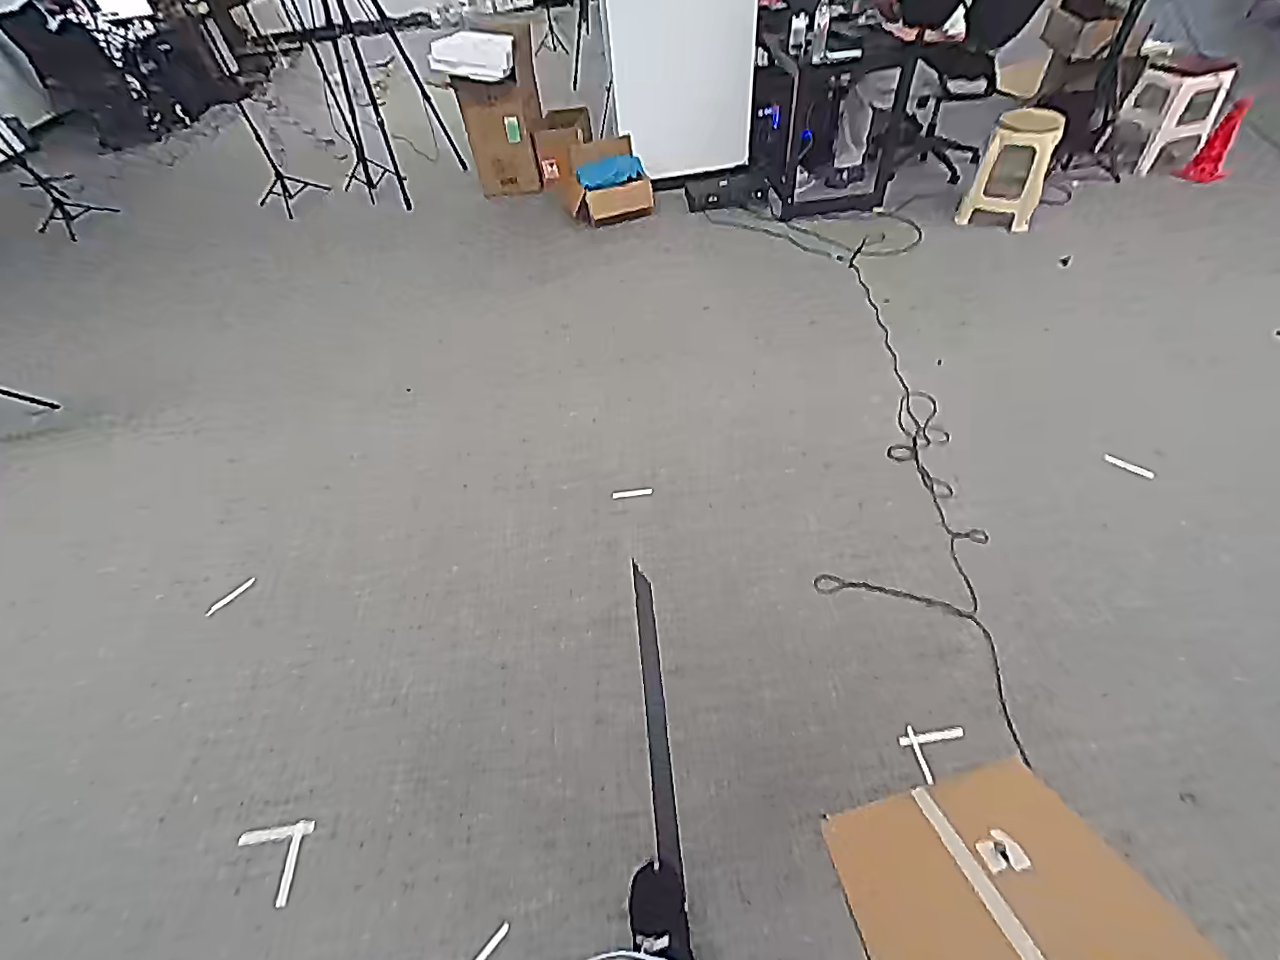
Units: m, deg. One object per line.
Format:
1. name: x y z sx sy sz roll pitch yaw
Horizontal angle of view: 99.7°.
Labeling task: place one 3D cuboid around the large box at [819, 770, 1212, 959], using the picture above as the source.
1. large box: 0.465 0.647 0.642 0.320 0.320 0.408 -18 6 3
